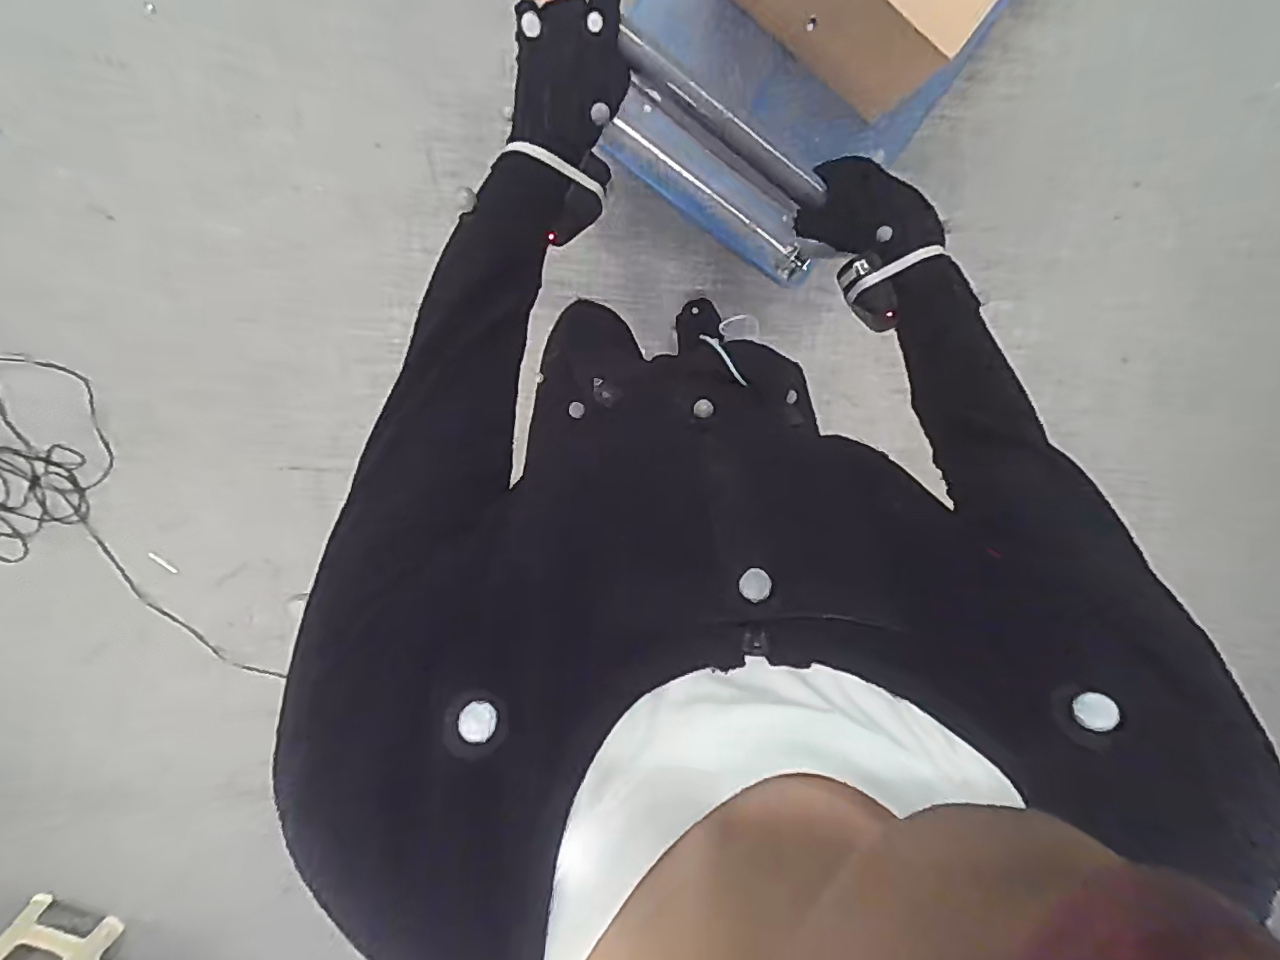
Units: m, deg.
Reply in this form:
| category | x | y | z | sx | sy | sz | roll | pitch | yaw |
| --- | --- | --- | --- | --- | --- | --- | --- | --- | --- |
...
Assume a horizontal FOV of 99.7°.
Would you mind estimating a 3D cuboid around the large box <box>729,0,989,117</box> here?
| category | x | y | z | sx | sy | sz | roll | pitch | yaw |
| --- | --- | --- | --- | --- | --- | --- | --- | --- | --- |
| large box | 0.377 | -0.885 | 0.857 | 0.408 | 0.320 | 0.320 | 34 | 106 | -8 |
